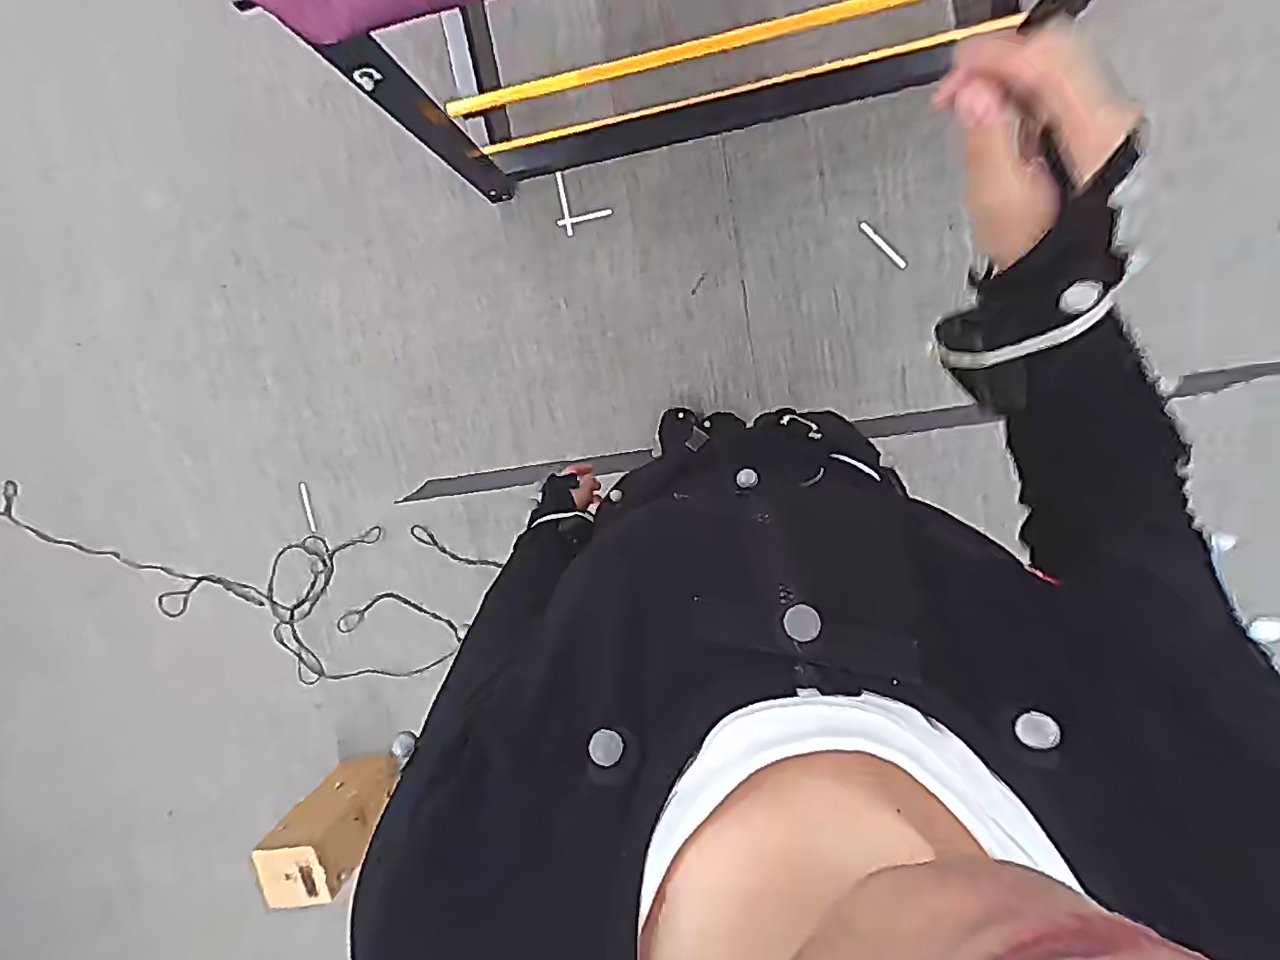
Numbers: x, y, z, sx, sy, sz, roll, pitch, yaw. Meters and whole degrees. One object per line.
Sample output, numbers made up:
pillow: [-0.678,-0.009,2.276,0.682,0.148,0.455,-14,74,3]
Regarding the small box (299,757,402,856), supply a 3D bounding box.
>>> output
small box: [-0.825,0.933,1.555,0.179,0.176,0.168,-15,98,8]
